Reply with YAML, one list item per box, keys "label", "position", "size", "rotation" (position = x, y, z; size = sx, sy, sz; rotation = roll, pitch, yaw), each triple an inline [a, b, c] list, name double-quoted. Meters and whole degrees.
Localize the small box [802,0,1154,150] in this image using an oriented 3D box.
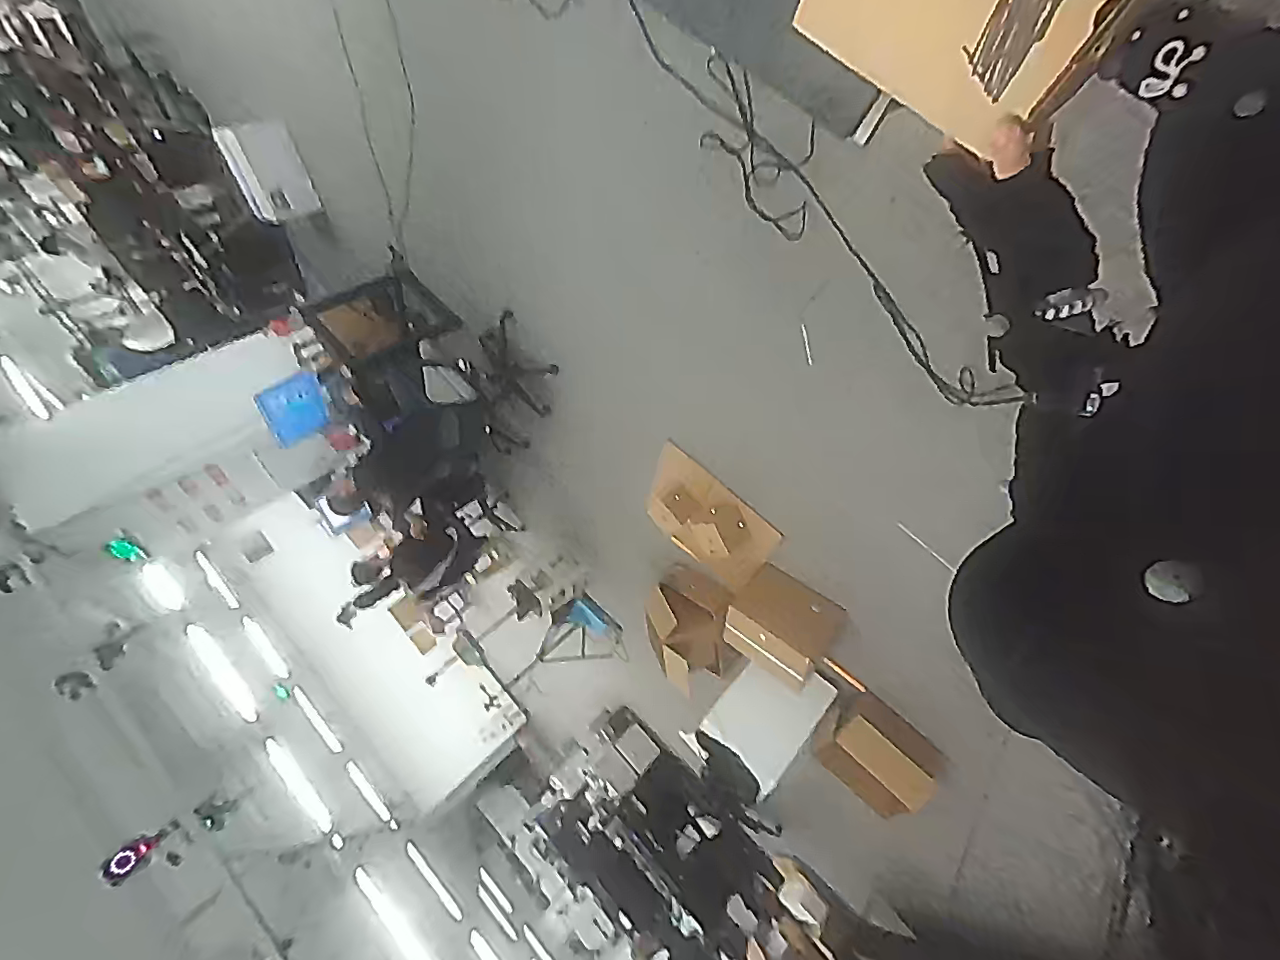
- label: "small box"
  position: [0.243, -0.350, 0.325]
  size: [0.179, 0.176, 0.168]
  rotation: [45, 153, 10]
